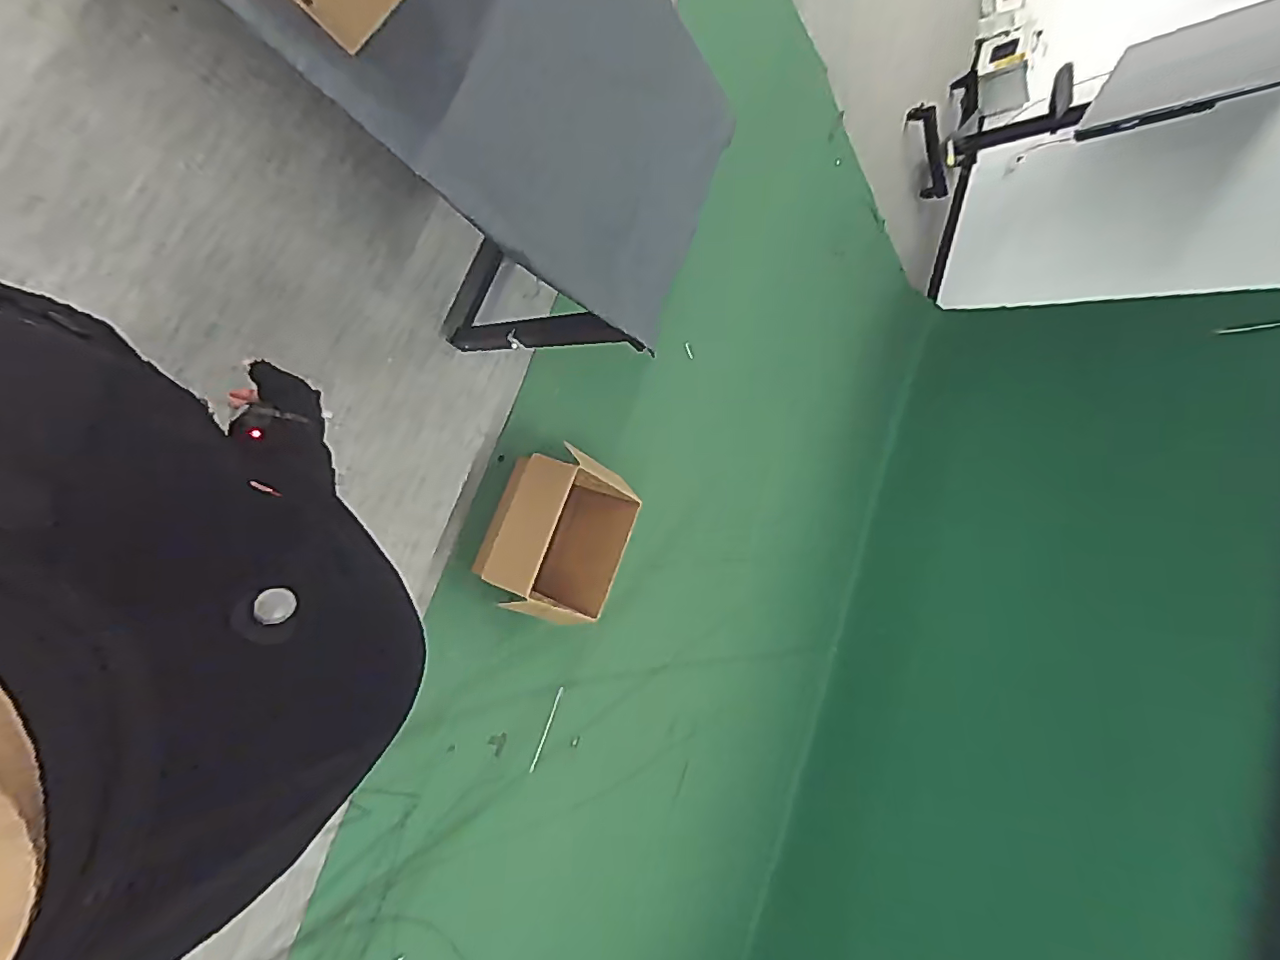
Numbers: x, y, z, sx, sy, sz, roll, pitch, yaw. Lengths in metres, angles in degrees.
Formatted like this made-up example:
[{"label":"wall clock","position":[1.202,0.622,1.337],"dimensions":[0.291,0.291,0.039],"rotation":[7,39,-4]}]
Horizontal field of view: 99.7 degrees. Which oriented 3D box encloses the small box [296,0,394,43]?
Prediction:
[{"label":"small box","position":[-0.315,-0.623,0.565],"dimensions":[0.168,0.176,0.179],"rotation":[33,73,-45]}]
